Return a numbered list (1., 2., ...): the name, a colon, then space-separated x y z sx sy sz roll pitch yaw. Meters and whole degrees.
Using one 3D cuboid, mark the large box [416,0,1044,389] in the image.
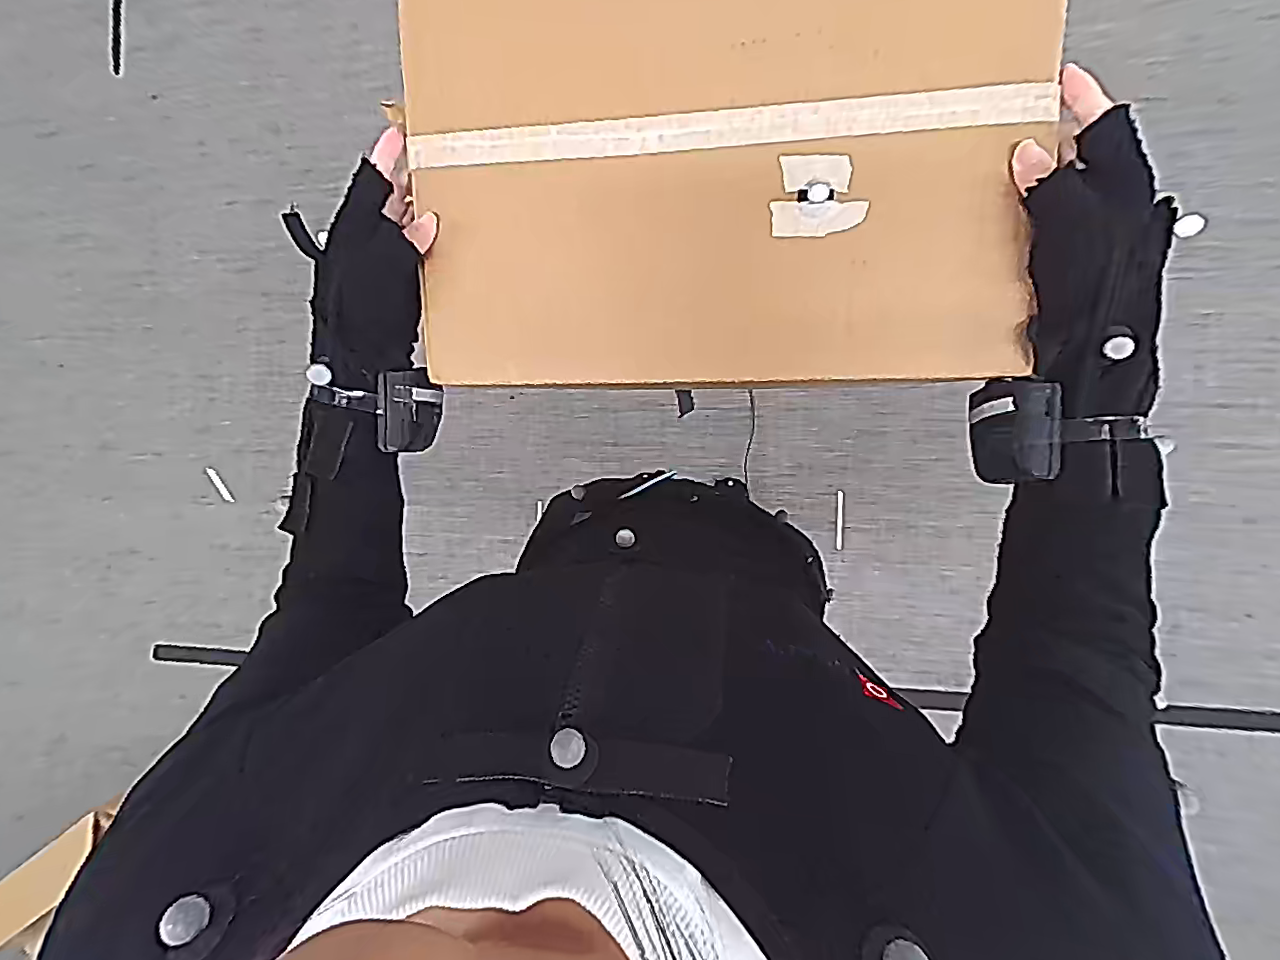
1. large box: 0.062 -0.250 0.505 0.408 0.320 0.320 0 100 6
